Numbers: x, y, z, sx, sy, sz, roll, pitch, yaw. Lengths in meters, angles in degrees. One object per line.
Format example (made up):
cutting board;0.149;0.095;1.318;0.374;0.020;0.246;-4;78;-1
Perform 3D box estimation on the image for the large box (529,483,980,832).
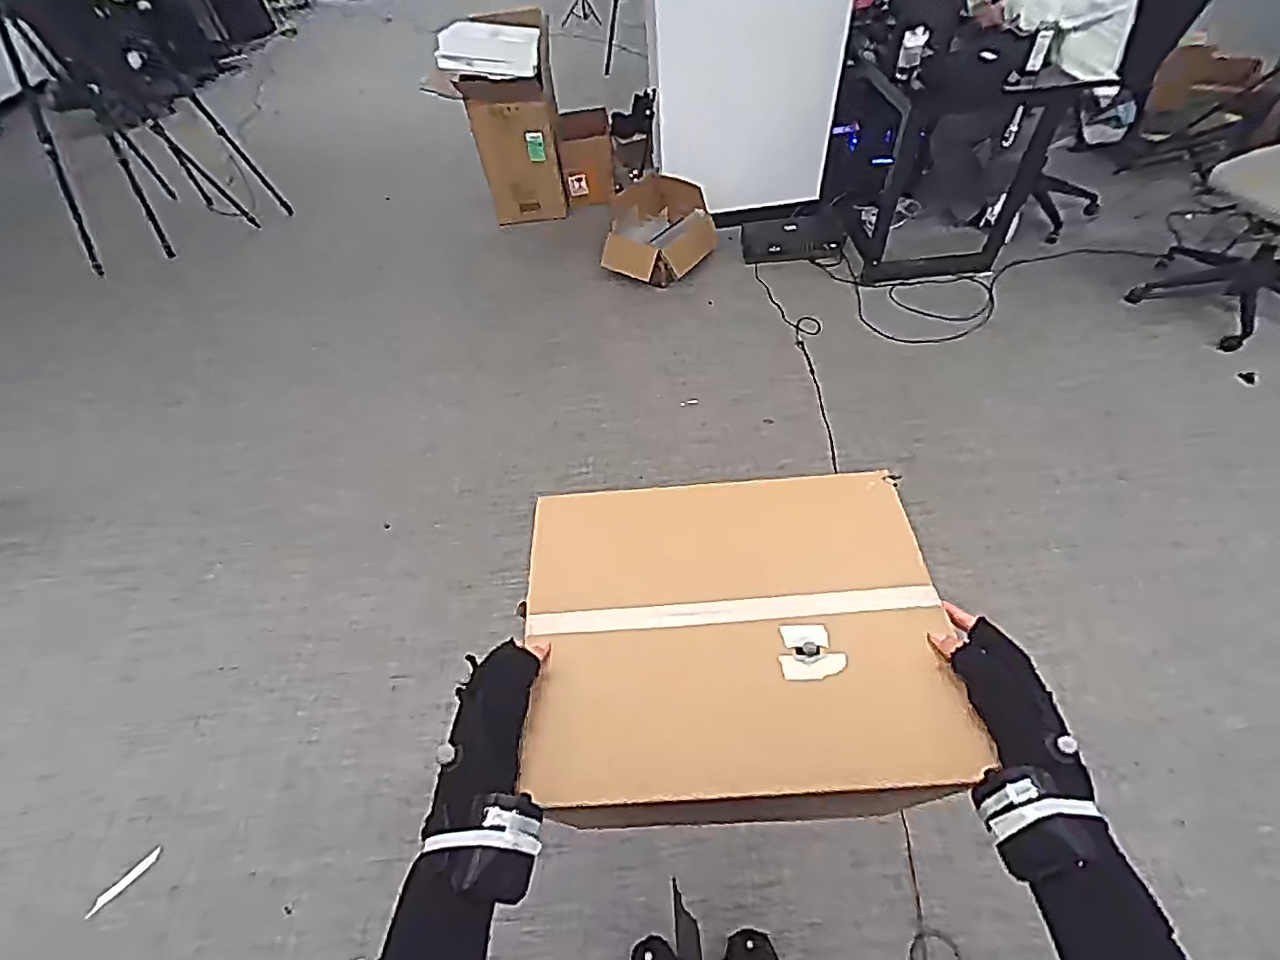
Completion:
large box;0.097;0.231;0.673;0.408;0.320;0.320;-5;55;1
